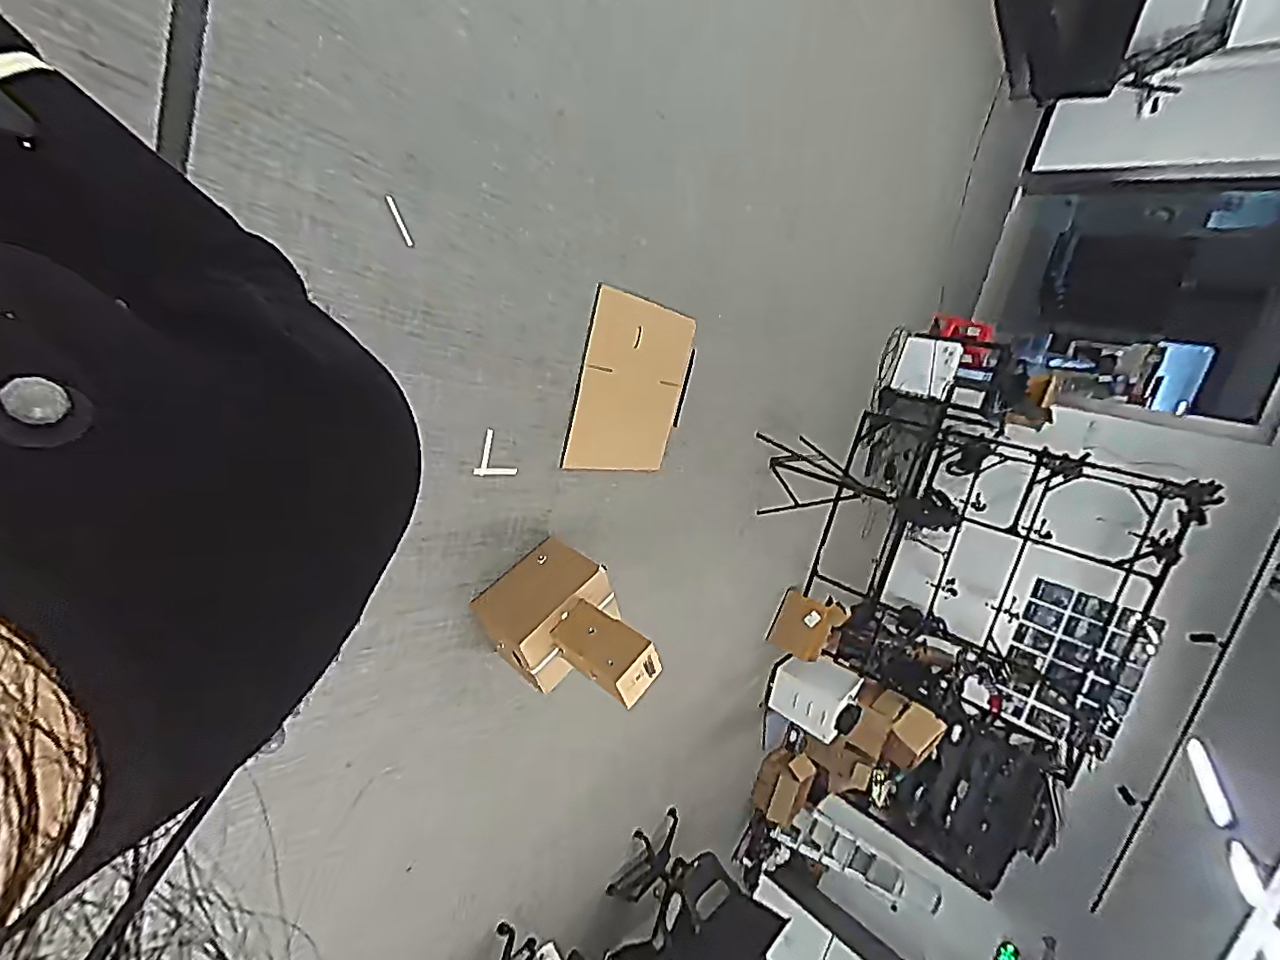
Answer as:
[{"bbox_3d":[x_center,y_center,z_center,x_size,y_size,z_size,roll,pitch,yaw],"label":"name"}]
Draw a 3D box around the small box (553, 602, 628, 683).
[{"bbox_3d":[-0.173,0.559,1.886,0.179,0.176,0.168,-42,134,-27],"label":"small box"}]
